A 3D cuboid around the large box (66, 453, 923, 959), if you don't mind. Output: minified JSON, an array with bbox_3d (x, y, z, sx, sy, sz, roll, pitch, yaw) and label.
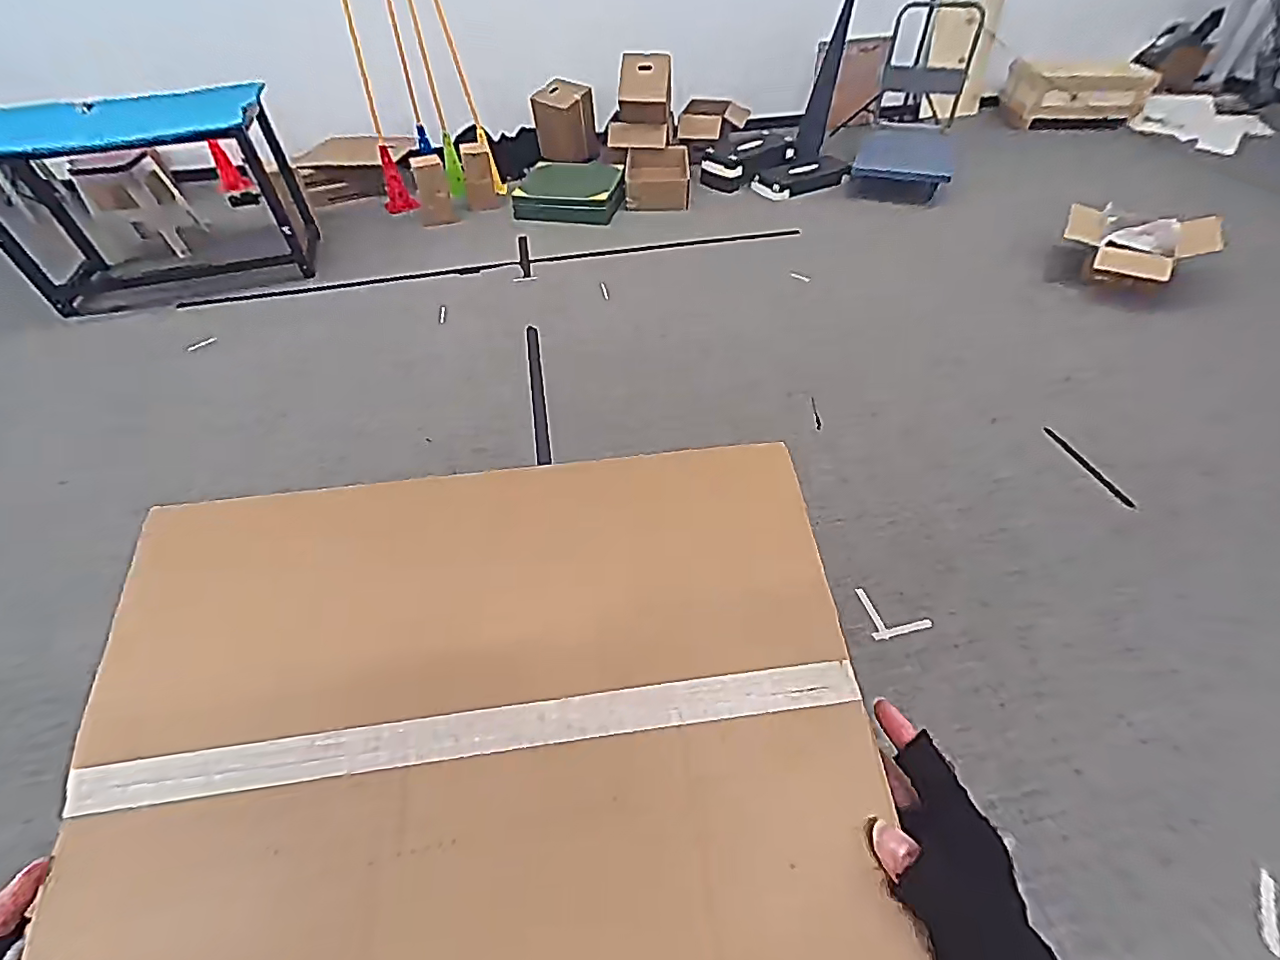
[{"bbox_3d":[-0.083,0.206,0.432,0.408,0.320,0.320,-6,64,-4],"label":"large box"}]
